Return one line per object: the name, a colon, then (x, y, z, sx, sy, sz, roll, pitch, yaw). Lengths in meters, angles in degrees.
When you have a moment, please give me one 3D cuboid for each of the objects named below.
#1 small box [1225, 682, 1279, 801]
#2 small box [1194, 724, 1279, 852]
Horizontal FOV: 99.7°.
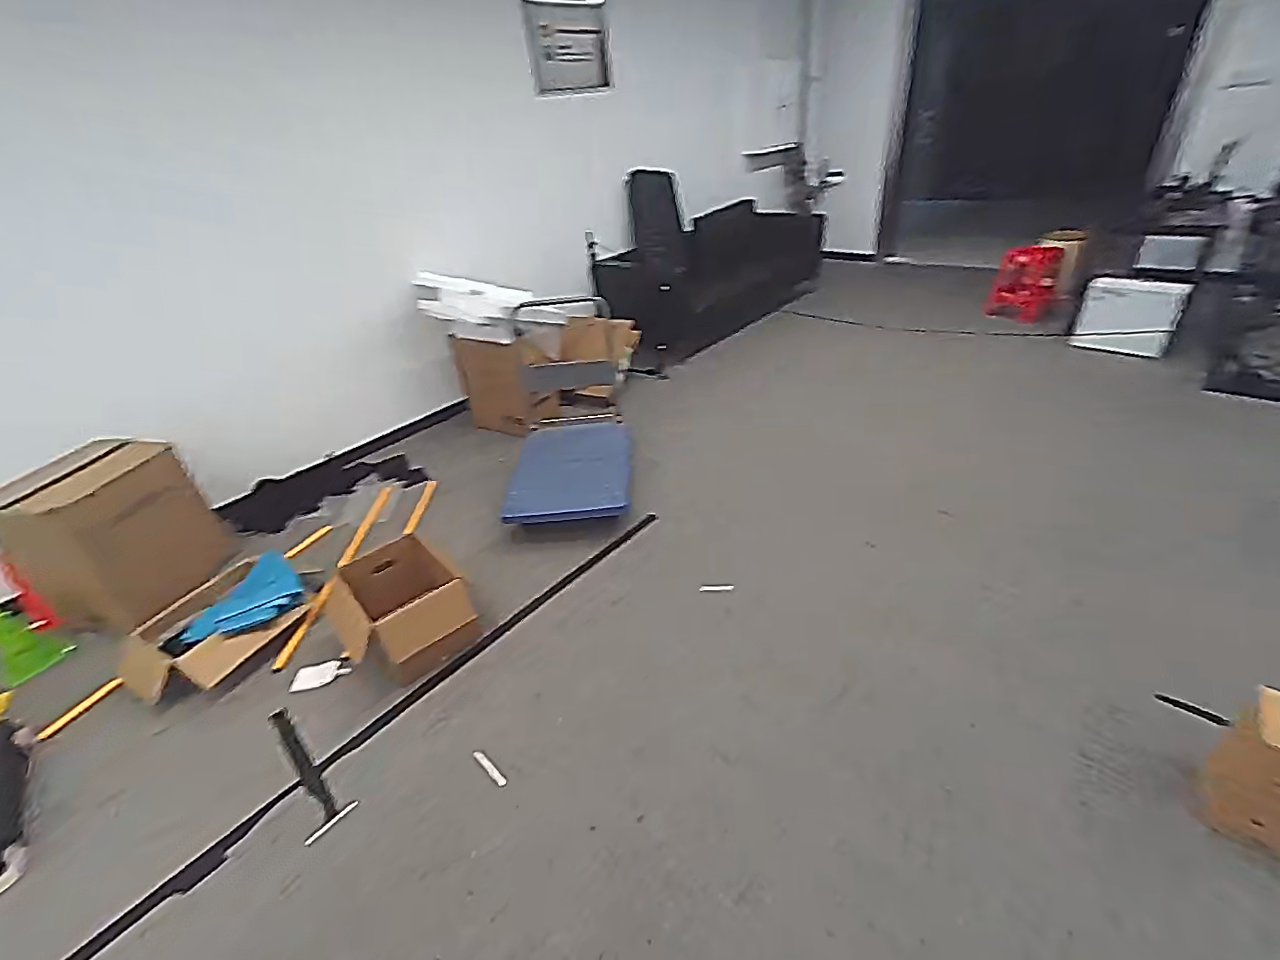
small box: (1.445, 0.596, 1.195, 0.168, 0.176, 0.179, 20, 42, 36)
small box: (1.462, 0.732, 1.282, 0.168, 0.176, 0.179, 19, 41, 34)
